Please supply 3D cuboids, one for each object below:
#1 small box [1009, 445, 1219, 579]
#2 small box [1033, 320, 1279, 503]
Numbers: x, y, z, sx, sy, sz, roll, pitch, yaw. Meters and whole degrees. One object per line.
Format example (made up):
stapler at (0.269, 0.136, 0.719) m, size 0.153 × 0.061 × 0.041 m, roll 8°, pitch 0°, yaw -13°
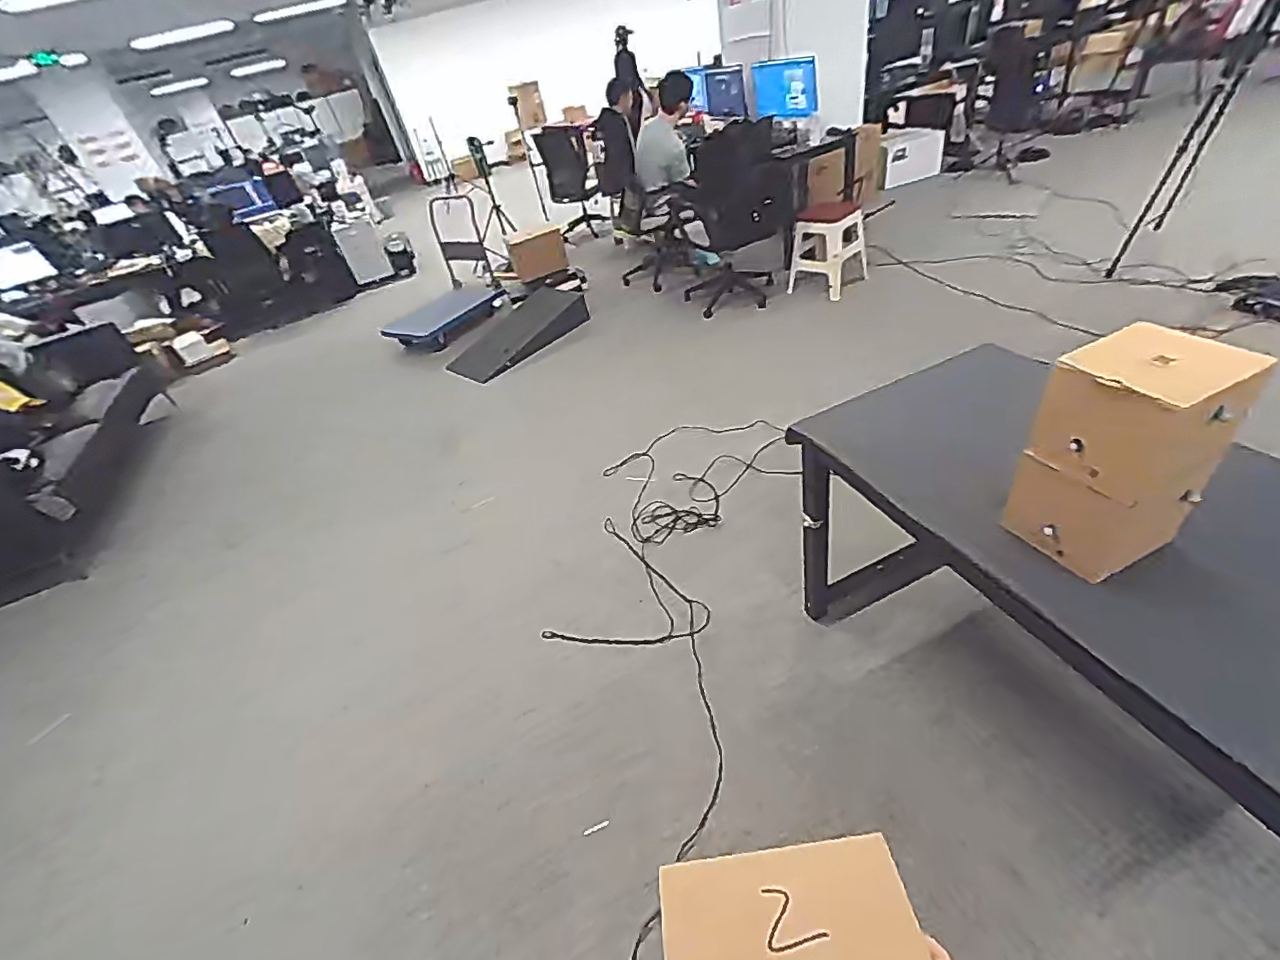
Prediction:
small box at (0.740, 0.025, 0.869) m, size 0.179 × 0.176 × 0.168 m, roll -23°, pitch 39°, yaw -11°
small box at (0.709, -0.099, 0.768) m, size 0.179 × 0.176 × 0.168 m, roll -23°, pitch 39°, yaw -11°
